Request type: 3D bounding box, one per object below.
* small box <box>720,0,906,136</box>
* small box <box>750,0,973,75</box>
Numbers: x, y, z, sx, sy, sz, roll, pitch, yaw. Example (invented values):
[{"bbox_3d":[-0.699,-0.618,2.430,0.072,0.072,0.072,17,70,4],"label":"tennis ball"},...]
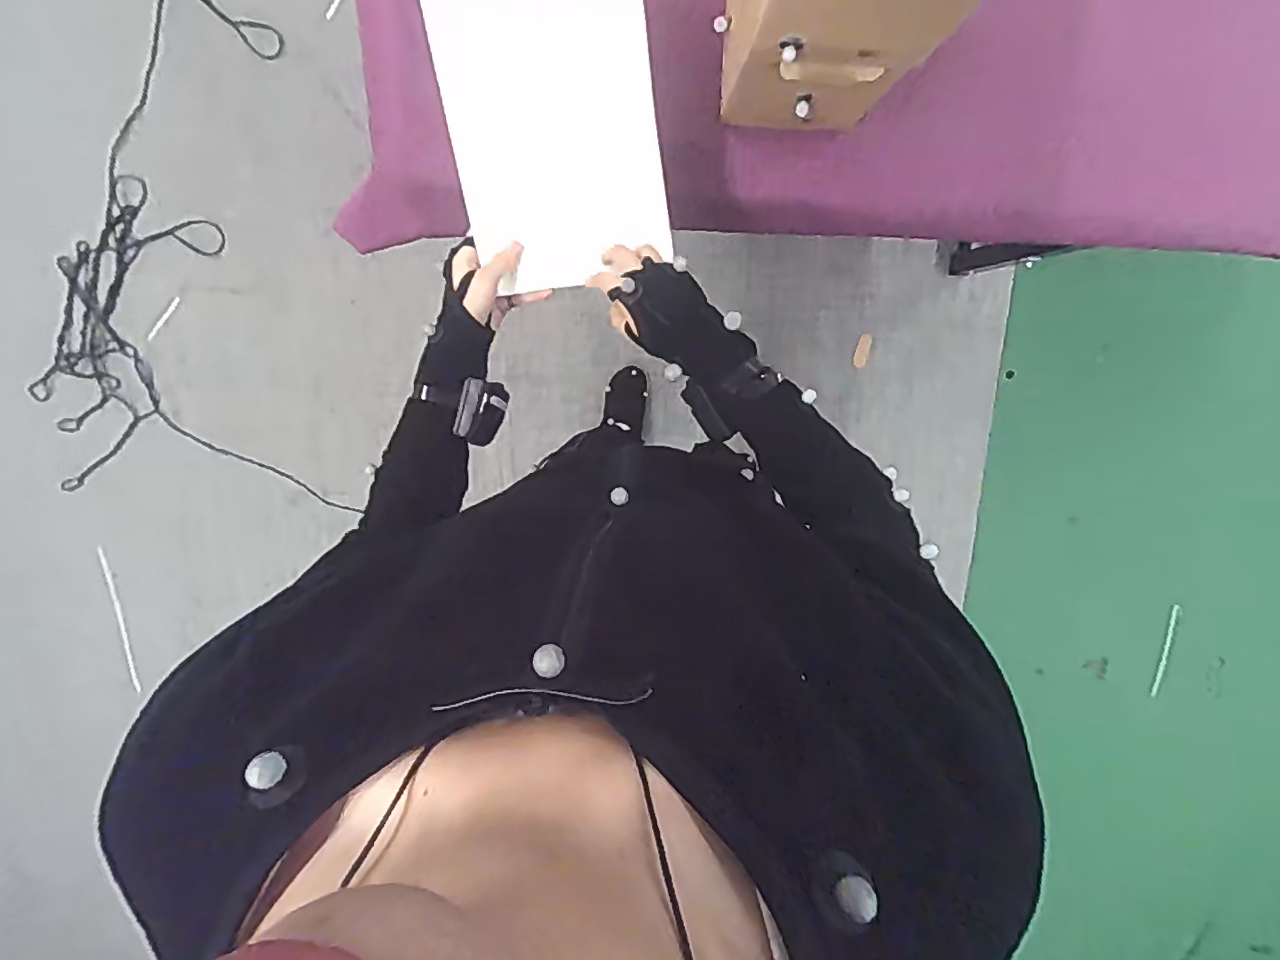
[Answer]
[{"bbox_3d":[0.184,-0.499,0.586,0.168,0.176,0.179,1,103,-2],"label":"small box"},{"bbox_3d":[0.188,-0.458,0.426,0.168,0.176,0.179,2,101,-2],"label":"small box"}]
